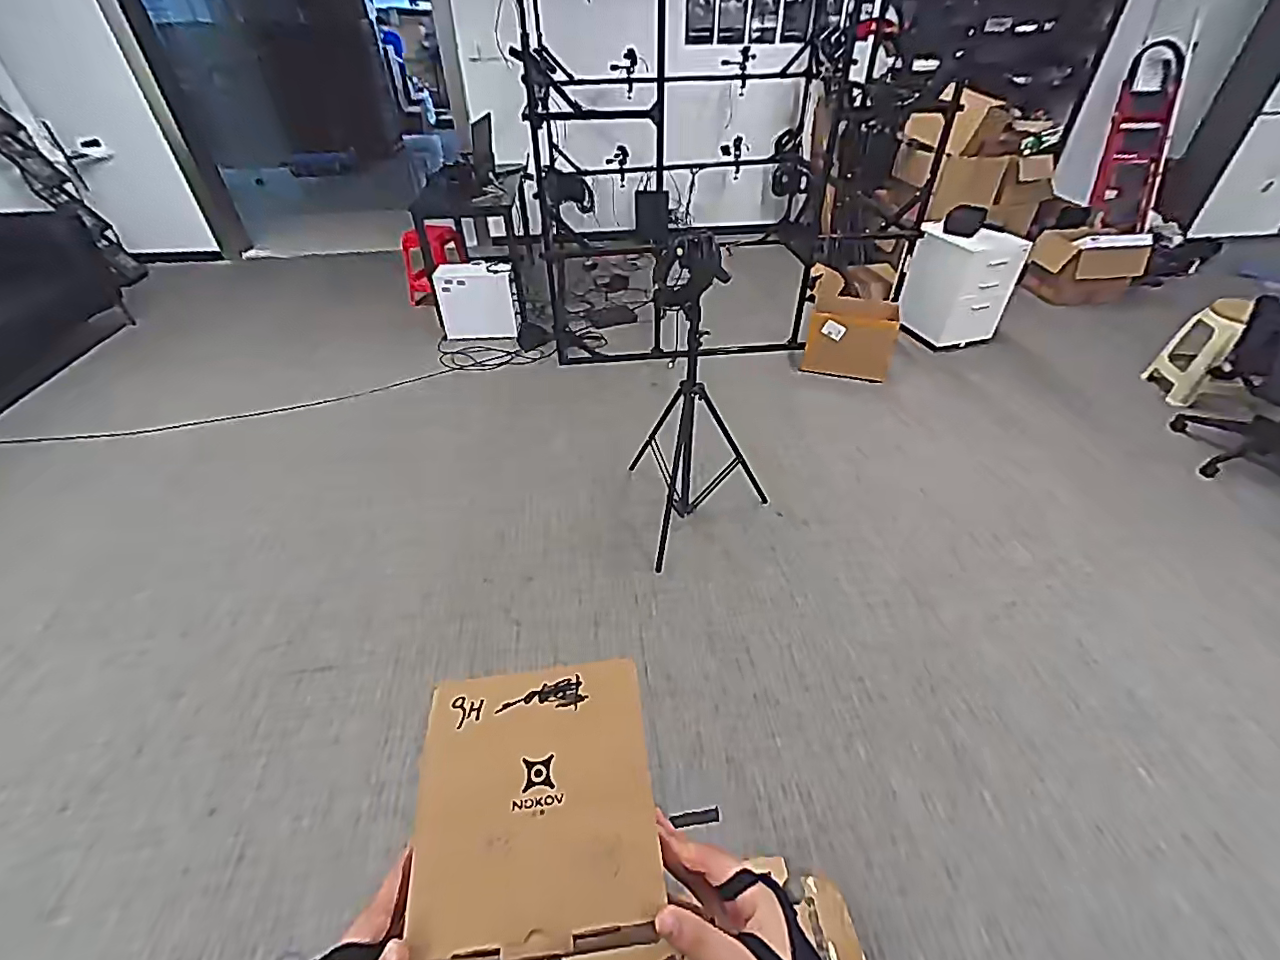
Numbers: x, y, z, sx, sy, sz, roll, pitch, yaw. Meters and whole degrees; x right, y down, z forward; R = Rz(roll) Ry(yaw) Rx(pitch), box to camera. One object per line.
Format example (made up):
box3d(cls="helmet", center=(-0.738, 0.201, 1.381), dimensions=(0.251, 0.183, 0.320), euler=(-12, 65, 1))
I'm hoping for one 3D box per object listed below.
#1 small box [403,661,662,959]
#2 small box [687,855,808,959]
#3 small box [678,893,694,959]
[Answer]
box3d(cls="small box", center=(-0.073, 0.274, 0.446), dimensions=(0.168, 0.176, 0.179), euler=(-6, 49, -5))
box3d(cls="small box", center=(0.173, 0.764, 0.909), dimensions=(0.168, 0.176, 0.179), euler=(-3, 40, -2))
box3d(cls="small box", center=(0.166, 0.893, 1.011), dimensions=(0.168, 0.176, 0.179), euler=(-6, 40, -5))
